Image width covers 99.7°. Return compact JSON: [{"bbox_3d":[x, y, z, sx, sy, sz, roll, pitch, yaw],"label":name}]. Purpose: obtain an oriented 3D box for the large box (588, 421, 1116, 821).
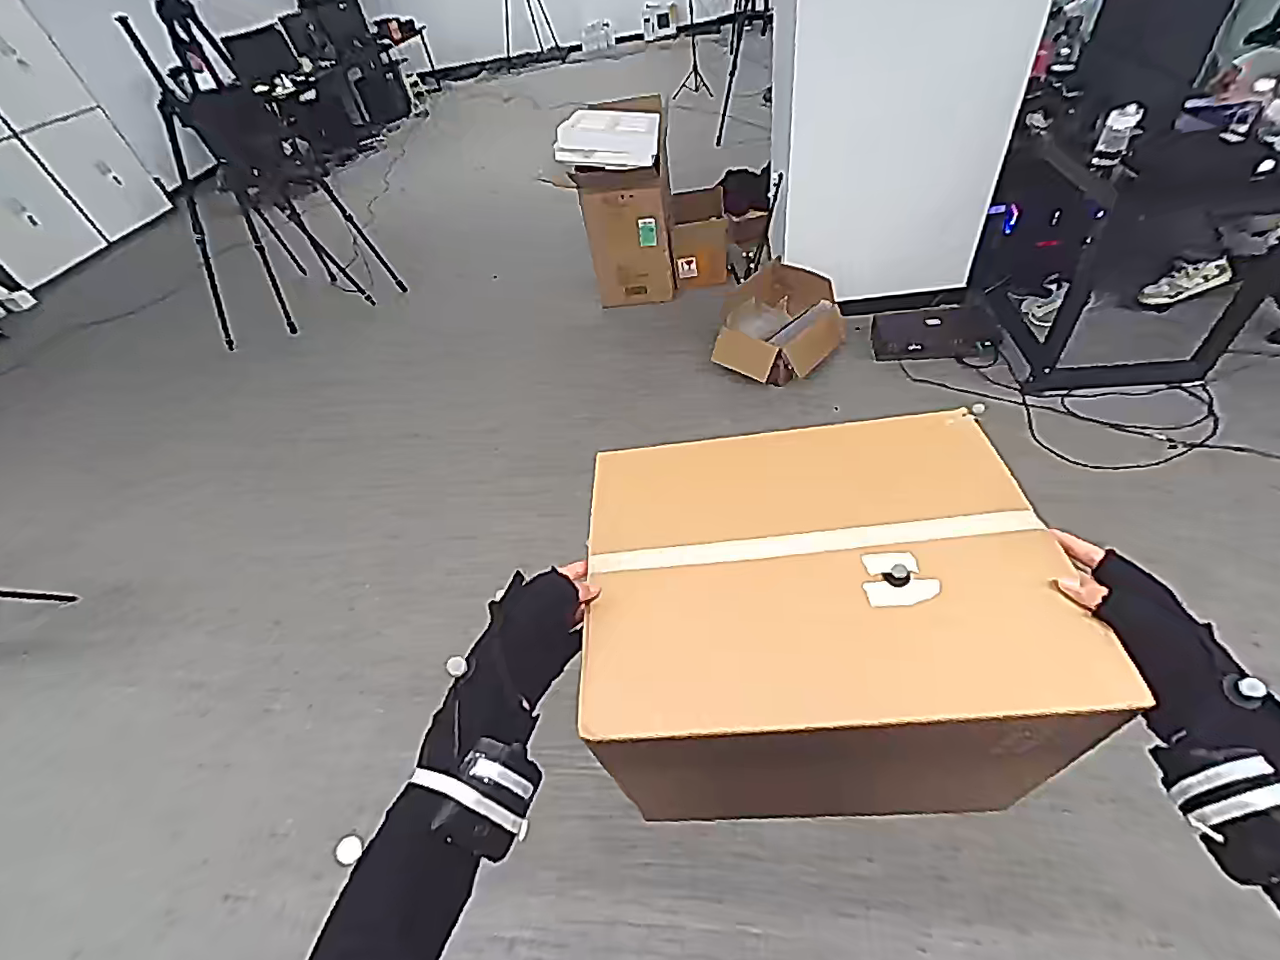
[{"bbox_3d":[0.171,0.169,0.618,0.408,0.320,0.320,-7,47,6],"label":"large box"}]
